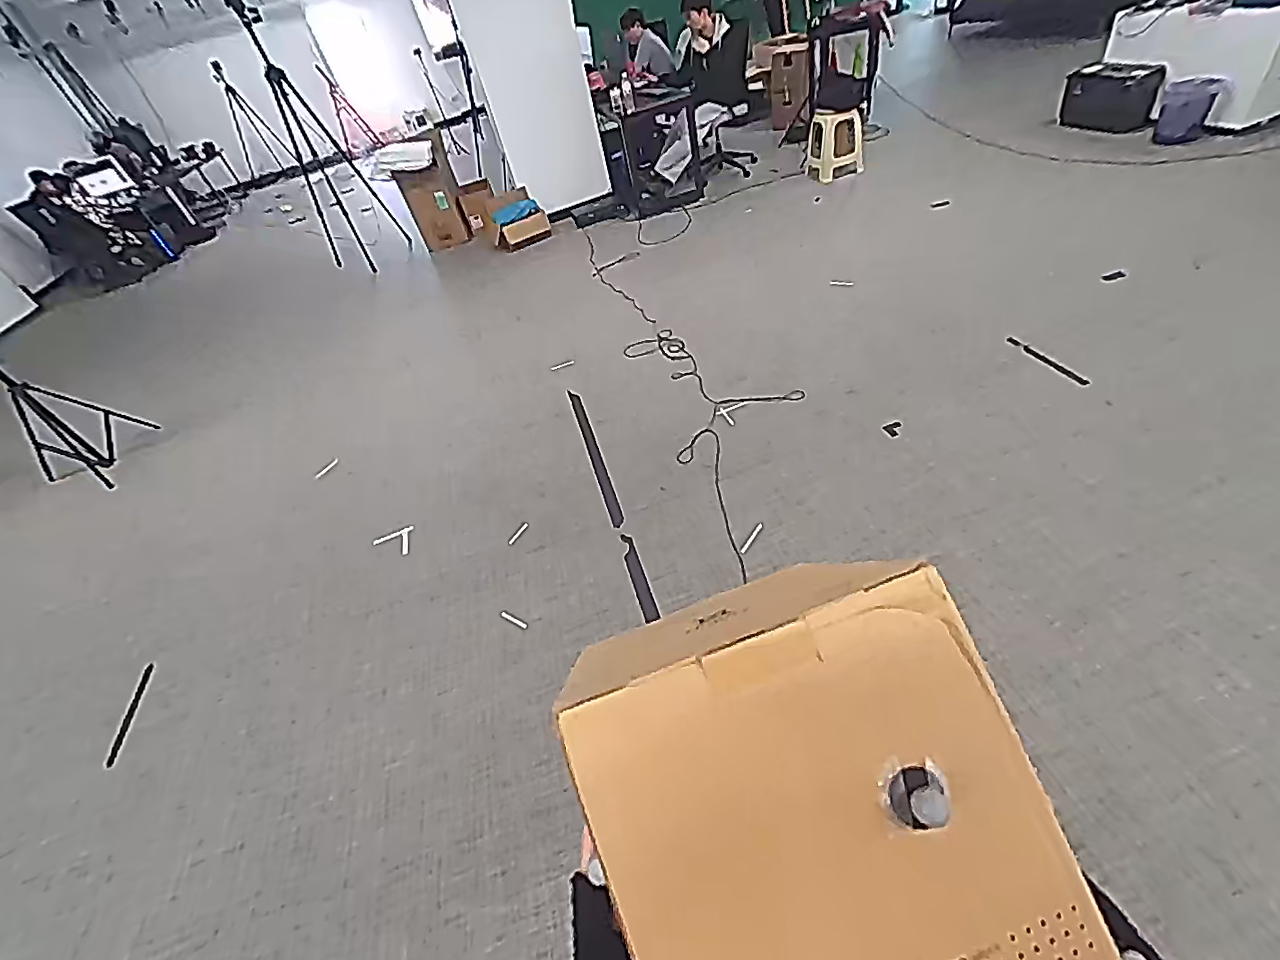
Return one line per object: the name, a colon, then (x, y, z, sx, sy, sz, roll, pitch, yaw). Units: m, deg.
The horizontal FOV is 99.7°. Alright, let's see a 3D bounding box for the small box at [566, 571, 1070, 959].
small box: (0.073, 0.161, 0.298, 0.168, 0.179, 0.176, -21, 81, -4)
